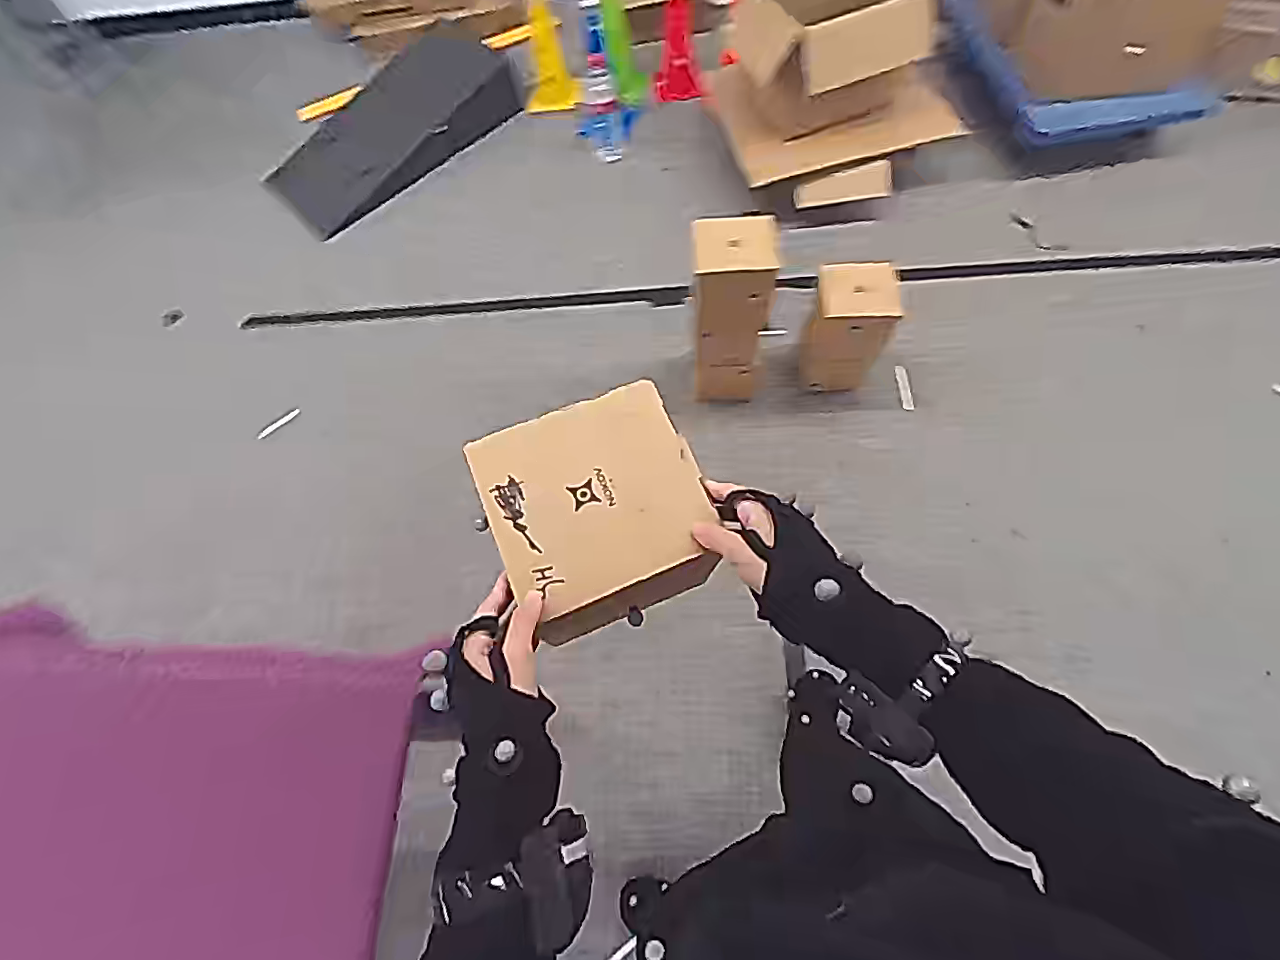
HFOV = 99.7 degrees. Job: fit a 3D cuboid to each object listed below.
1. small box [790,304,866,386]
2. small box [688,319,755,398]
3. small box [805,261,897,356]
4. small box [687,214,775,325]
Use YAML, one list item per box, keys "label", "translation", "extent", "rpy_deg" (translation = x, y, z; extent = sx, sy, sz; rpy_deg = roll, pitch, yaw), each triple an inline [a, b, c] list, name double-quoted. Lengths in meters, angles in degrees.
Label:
- label: "small box"
  translation: [0.529, -0.377, 1.527]
  extent: [0.168, 0.176, 0.179]
  rpy_deg: [-2, 66, 3]
- label: "small box"
  translation: [0.227, -0.347, 1.538]
  extent: [0.179, 0.176, 0.168]
  rpy_deg: [-1, 66, 4]
- label: "small box"
  translation: [0.523, -0.428, 1.369]
  extent: [0.179, 0.176, 0.168]
  rpy_deg: [0, 67, 4]
- label: "small box"
  translation: [0.200, -0.477, 1.239]
  extent: [0.179, 0.176, 0.168]
  rpy_deg: [-3, 64, 4]
